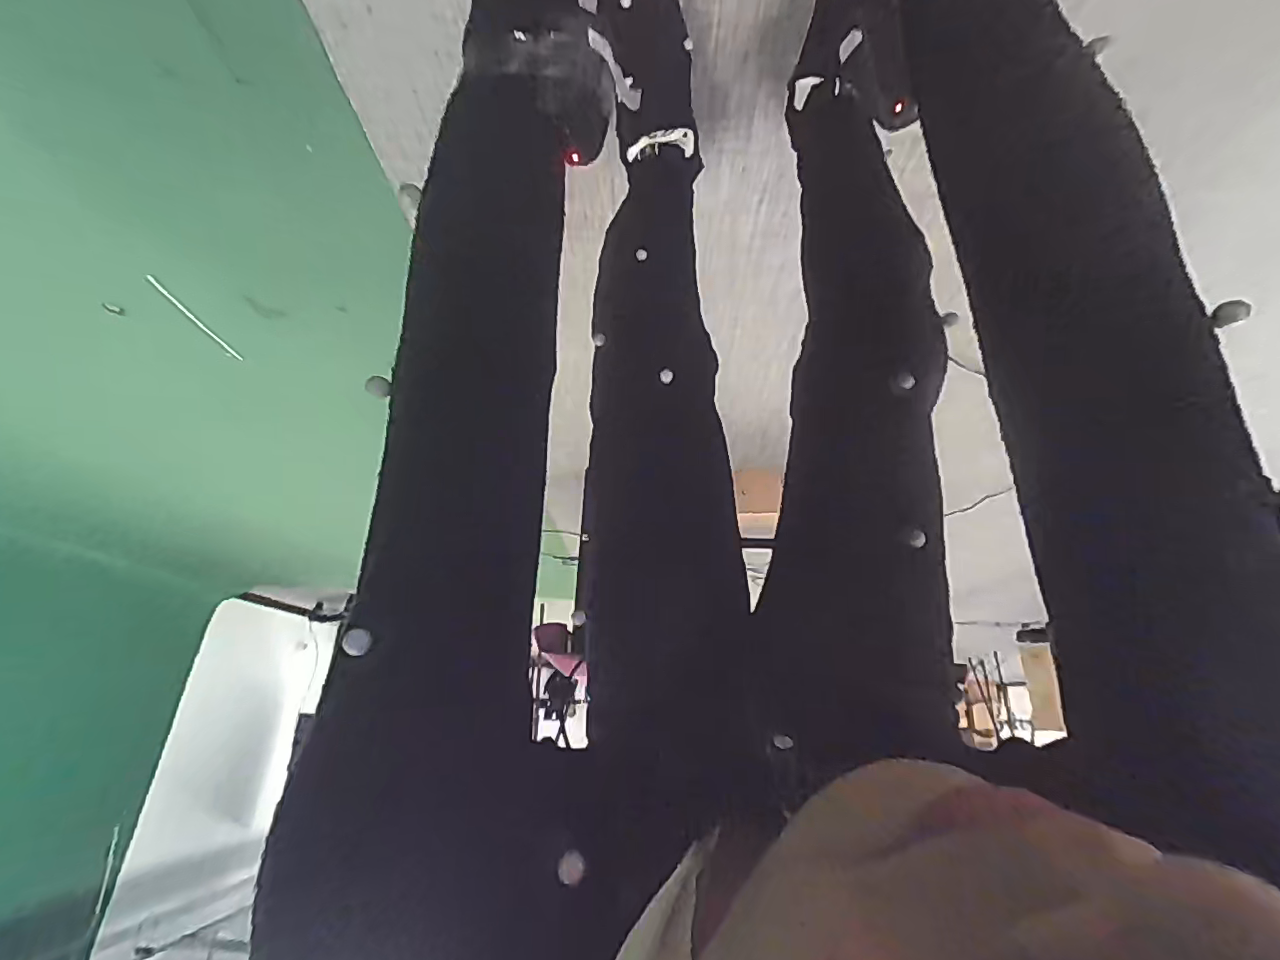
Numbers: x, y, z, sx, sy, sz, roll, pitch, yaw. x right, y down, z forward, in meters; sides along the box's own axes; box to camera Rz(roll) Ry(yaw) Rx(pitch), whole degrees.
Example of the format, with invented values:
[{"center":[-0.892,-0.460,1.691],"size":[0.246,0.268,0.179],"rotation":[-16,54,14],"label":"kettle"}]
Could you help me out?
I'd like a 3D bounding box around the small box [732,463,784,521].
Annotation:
[{"center":[0.430,0.045,1.997],"size":[0.179,0.176,0.168],"rotation":[-2,158,8],"label":"small box"}]
